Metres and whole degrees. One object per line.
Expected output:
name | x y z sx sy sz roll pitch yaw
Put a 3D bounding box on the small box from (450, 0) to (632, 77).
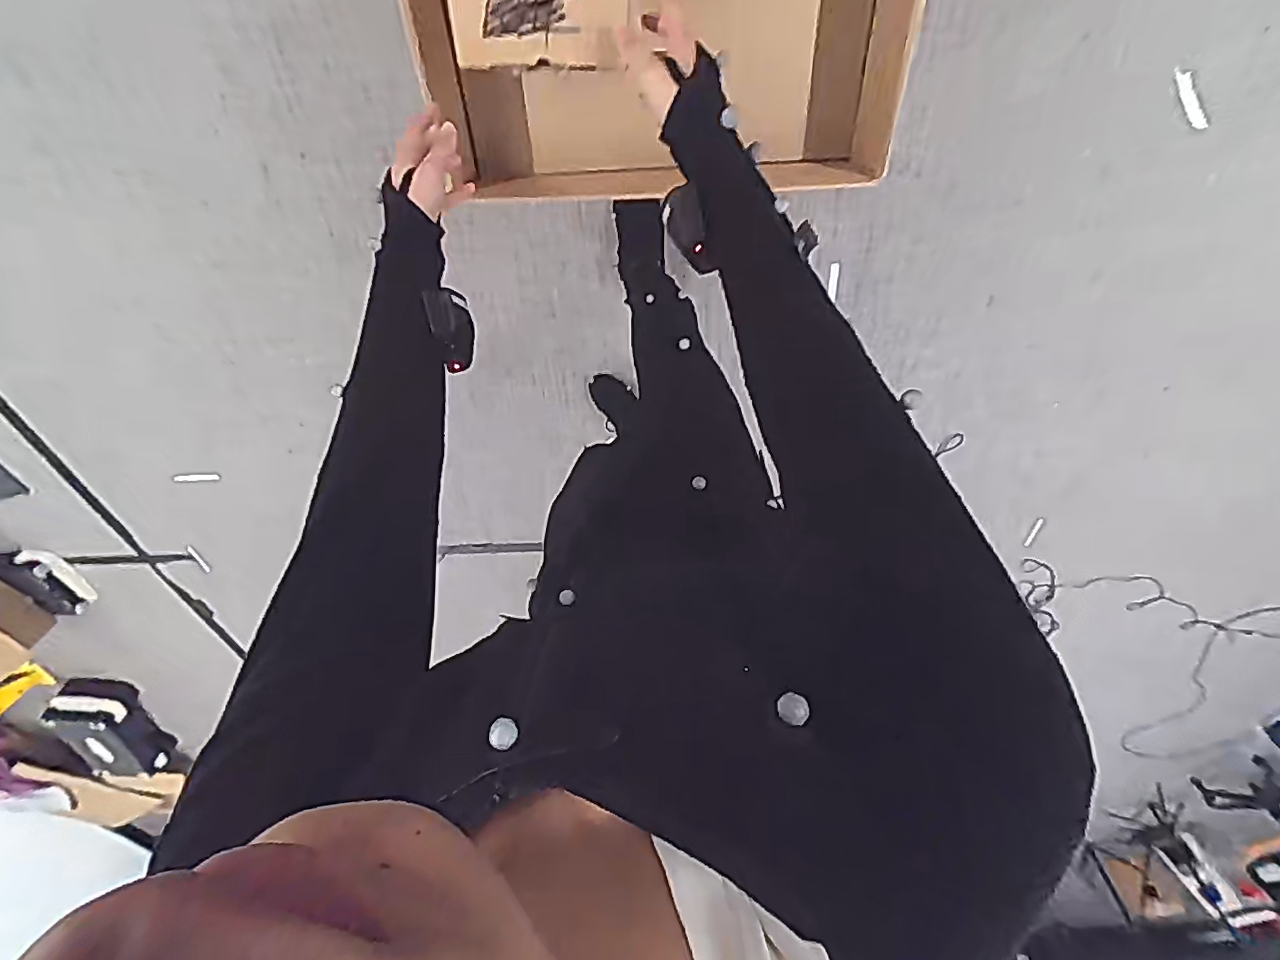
small box | -0.091 -0.514 0.532 0.168 0.176 0.179 0 130 -1
